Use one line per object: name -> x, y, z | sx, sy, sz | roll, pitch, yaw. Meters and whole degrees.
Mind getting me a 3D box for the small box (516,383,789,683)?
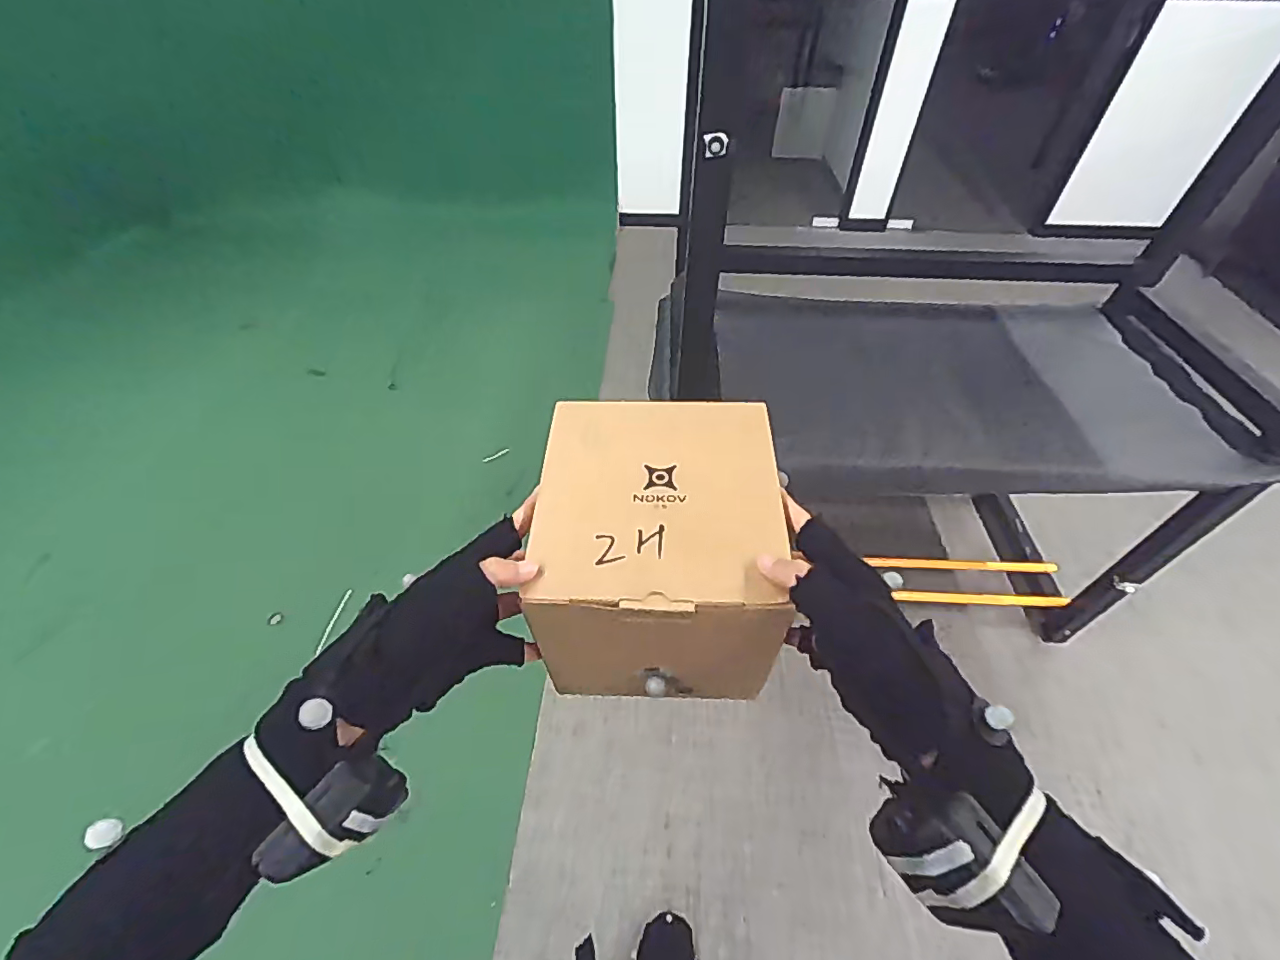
small box -> 0.012, 0.043, 0.433 | 0.168, 0.176, 0.179 | 1, 50, 3
